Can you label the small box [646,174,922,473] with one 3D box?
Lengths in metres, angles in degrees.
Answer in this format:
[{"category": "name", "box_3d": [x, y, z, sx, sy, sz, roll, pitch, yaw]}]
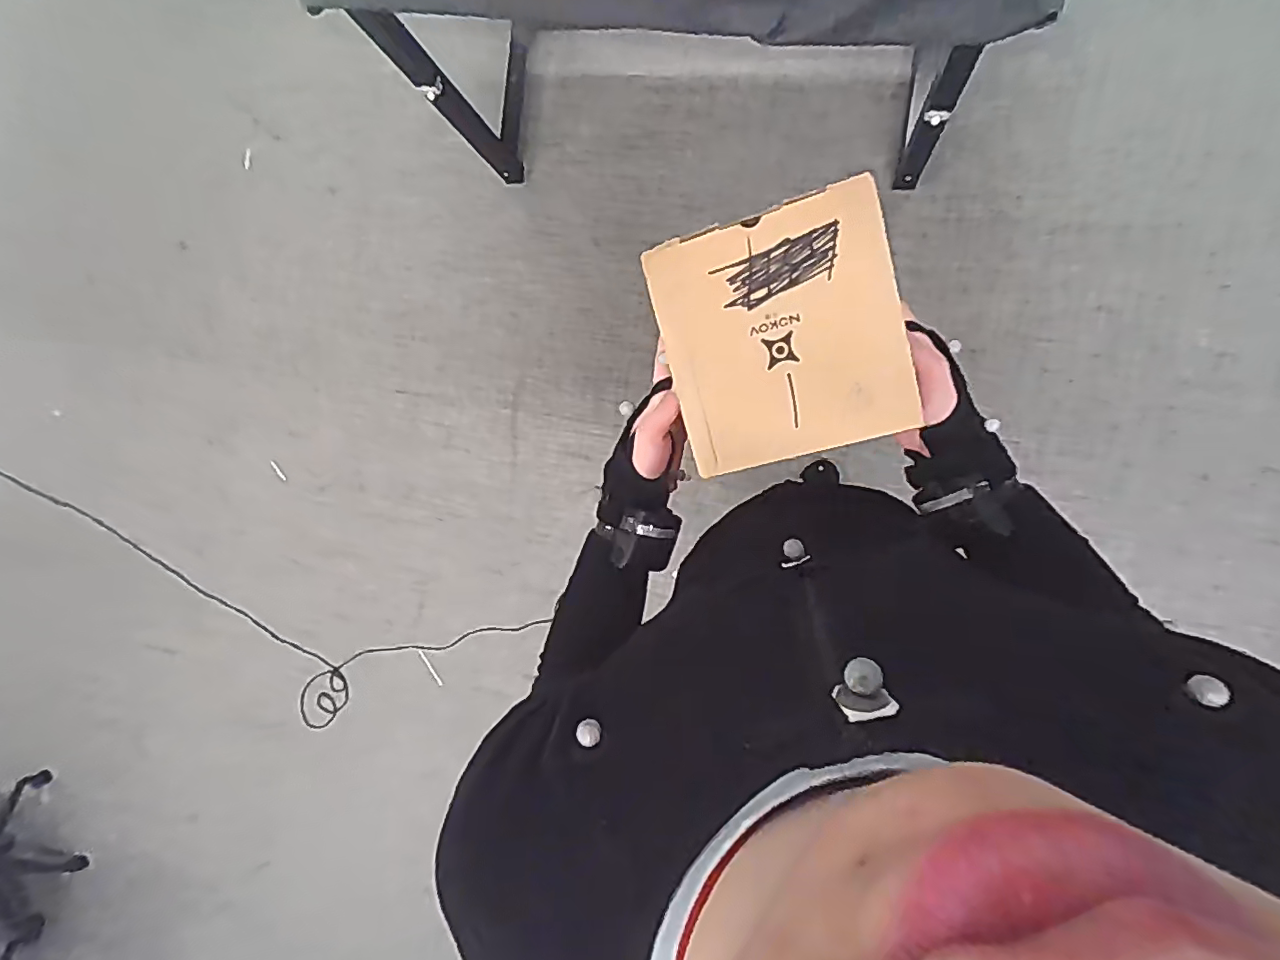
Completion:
[{"category": "small box", "box_3d": [0.116, -0.118, 0.463, 0.168, 0.176, 0.179, -13, 98, 15]}]
